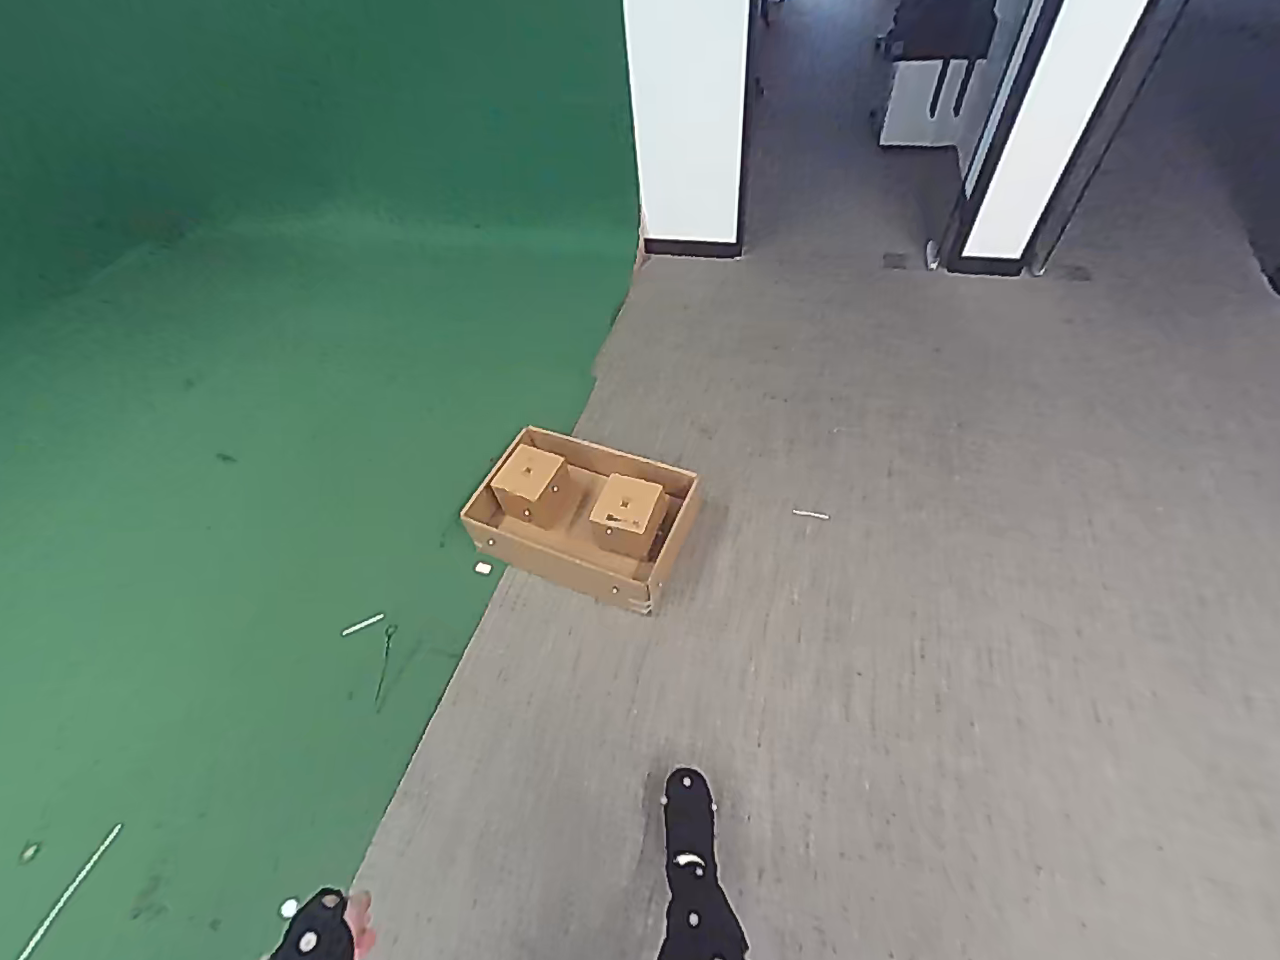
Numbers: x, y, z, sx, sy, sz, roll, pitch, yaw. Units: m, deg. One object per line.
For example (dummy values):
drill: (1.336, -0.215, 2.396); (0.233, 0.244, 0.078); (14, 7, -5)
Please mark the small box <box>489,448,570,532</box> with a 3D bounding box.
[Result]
small box: (-0.337, 0.036, 1.693); (0.168, 0.176, 0.179); (19, 57, 18)
